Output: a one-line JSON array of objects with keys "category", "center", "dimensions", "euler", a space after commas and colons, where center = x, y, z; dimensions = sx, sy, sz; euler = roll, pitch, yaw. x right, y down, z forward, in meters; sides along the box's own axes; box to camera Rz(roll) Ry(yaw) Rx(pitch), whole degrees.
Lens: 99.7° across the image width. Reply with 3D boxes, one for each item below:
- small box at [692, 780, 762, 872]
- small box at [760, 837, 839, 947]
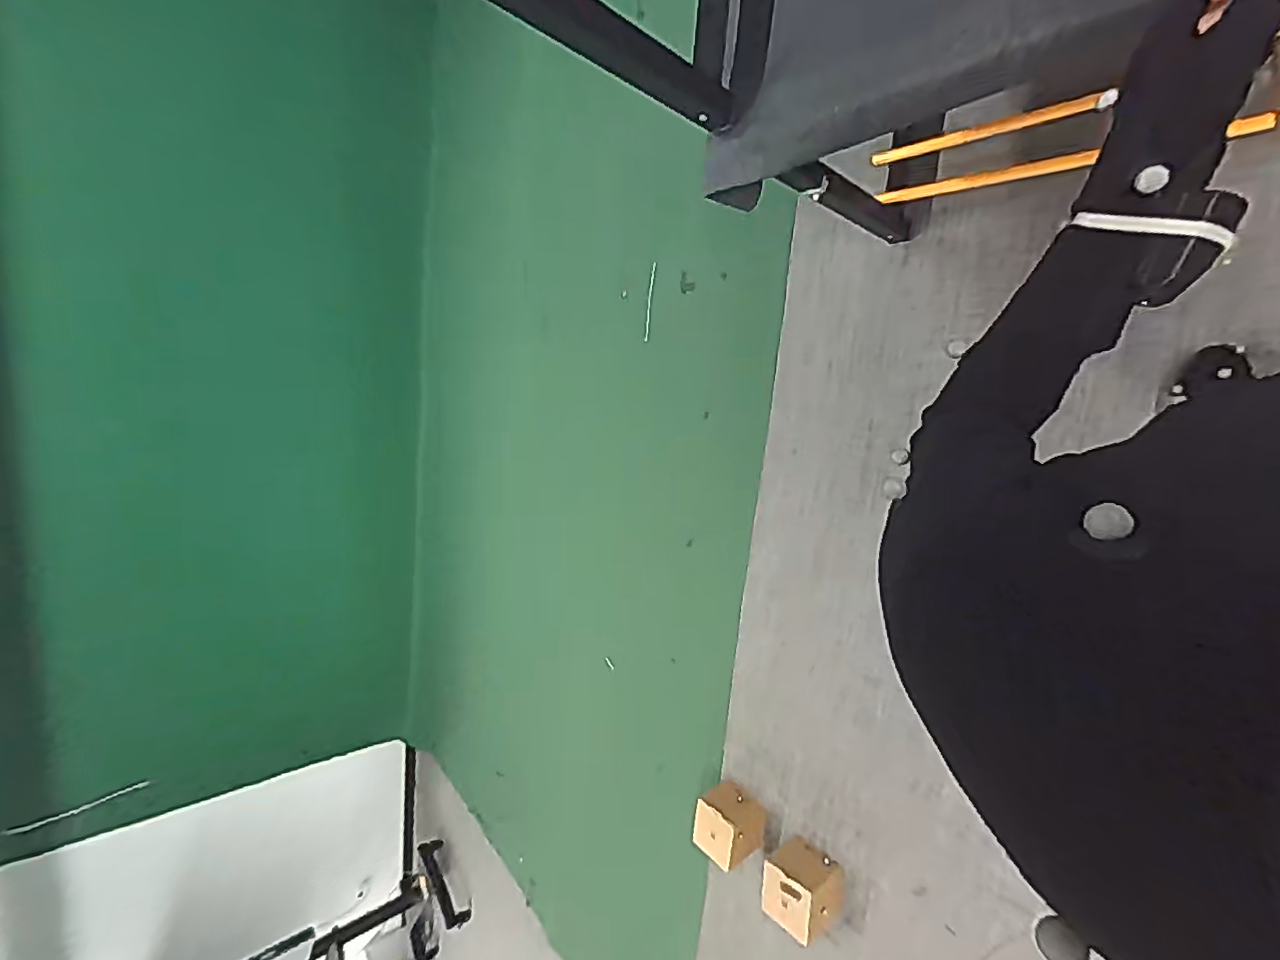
[{"category": "small box", "center": [0.302, 1.190, 1.873], "dimensions": [0.168, 0.176, 0.179], "euler": [15, 102, 47]}, {"category": "small box", "center": [0.491, 1.250, 1.658], "dimensions": [0.168, 0.176, 0.179], "euler": [10, 99, 48]}]
